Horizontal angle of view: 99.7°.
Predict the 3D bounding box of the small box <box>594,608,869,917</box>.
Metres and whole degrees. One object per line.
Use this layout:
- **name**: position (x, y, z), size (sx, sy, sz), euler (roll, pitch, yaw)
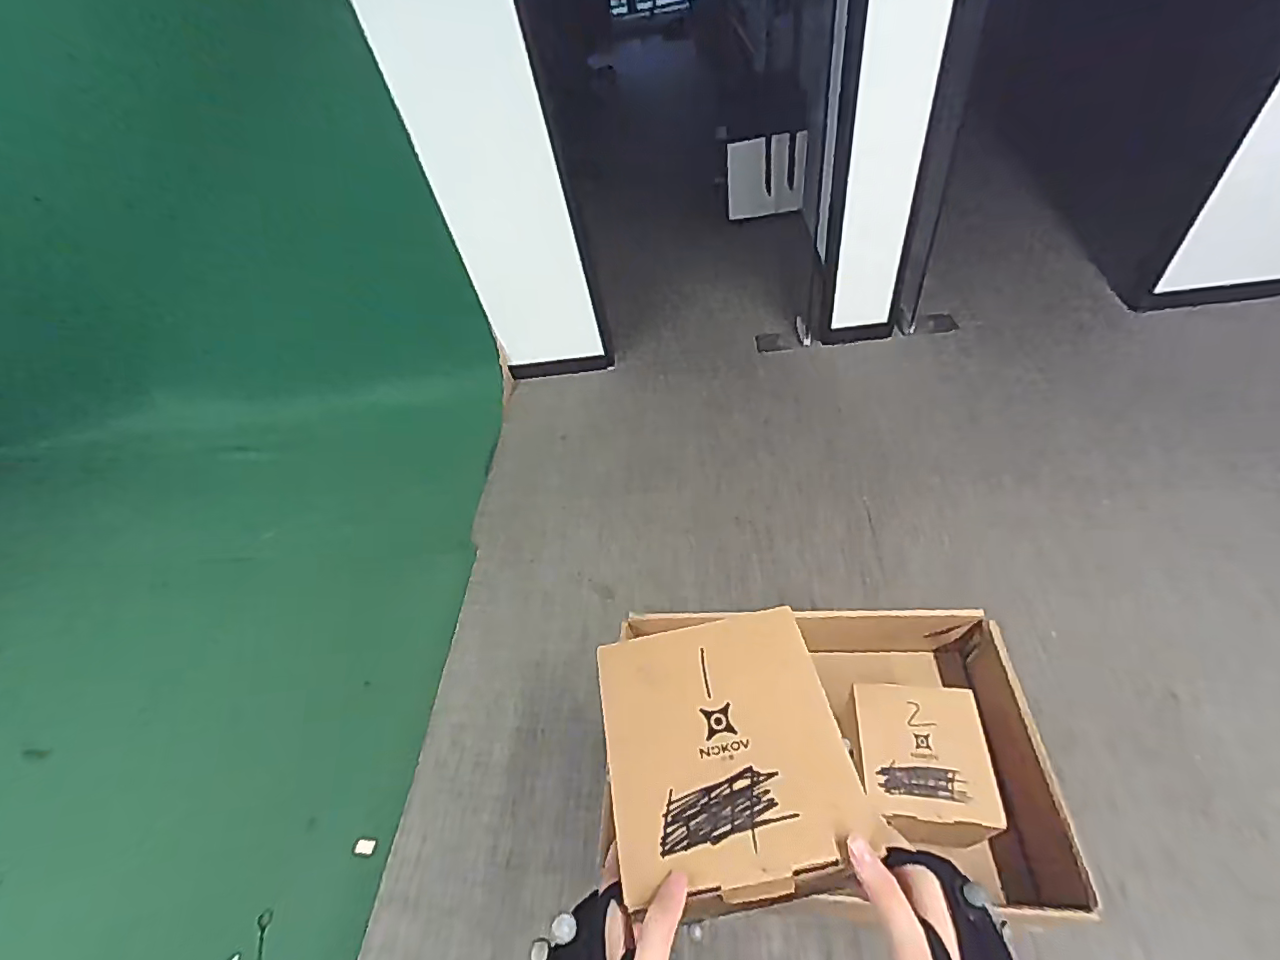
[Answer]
- **small box**: position (0.066, 0.238, 0.448), size (0.168, 0.176, 0.179), euler (-12, 45, 1)
